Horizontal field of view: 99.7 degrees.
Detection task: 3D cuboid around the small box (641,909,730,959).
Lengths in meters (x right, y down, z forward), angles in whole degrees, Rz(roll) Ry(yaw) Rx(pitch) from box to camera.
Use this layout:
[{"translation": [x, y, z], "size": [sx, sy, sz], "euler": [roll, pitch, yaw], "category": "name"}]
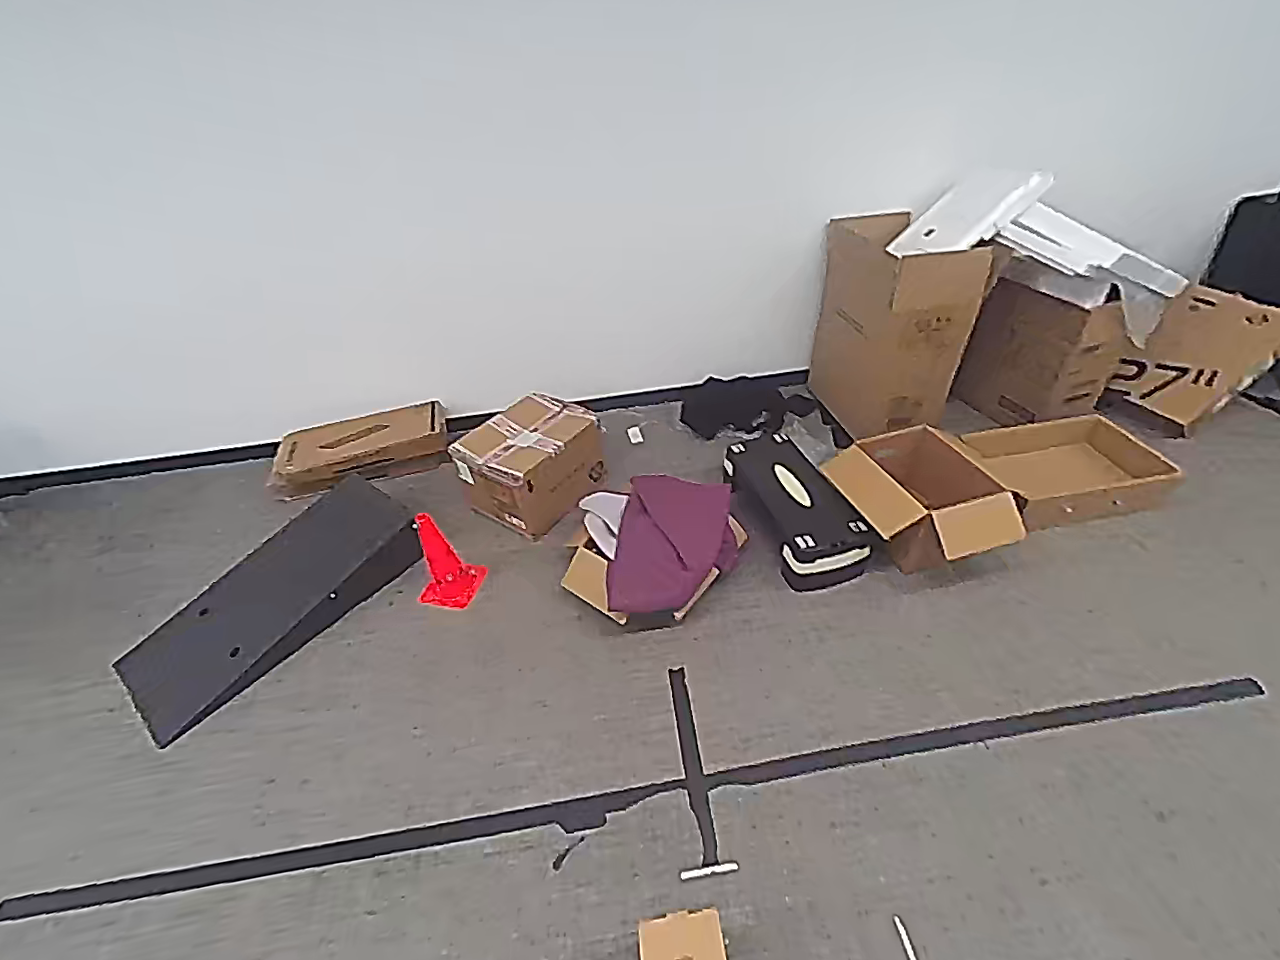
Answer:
[{"translation": [0.098, 0.990, 1.071], "size": [0.168, 0.176, 0.179], "euler": [-9, 40, -2], "category": "small box"}]
